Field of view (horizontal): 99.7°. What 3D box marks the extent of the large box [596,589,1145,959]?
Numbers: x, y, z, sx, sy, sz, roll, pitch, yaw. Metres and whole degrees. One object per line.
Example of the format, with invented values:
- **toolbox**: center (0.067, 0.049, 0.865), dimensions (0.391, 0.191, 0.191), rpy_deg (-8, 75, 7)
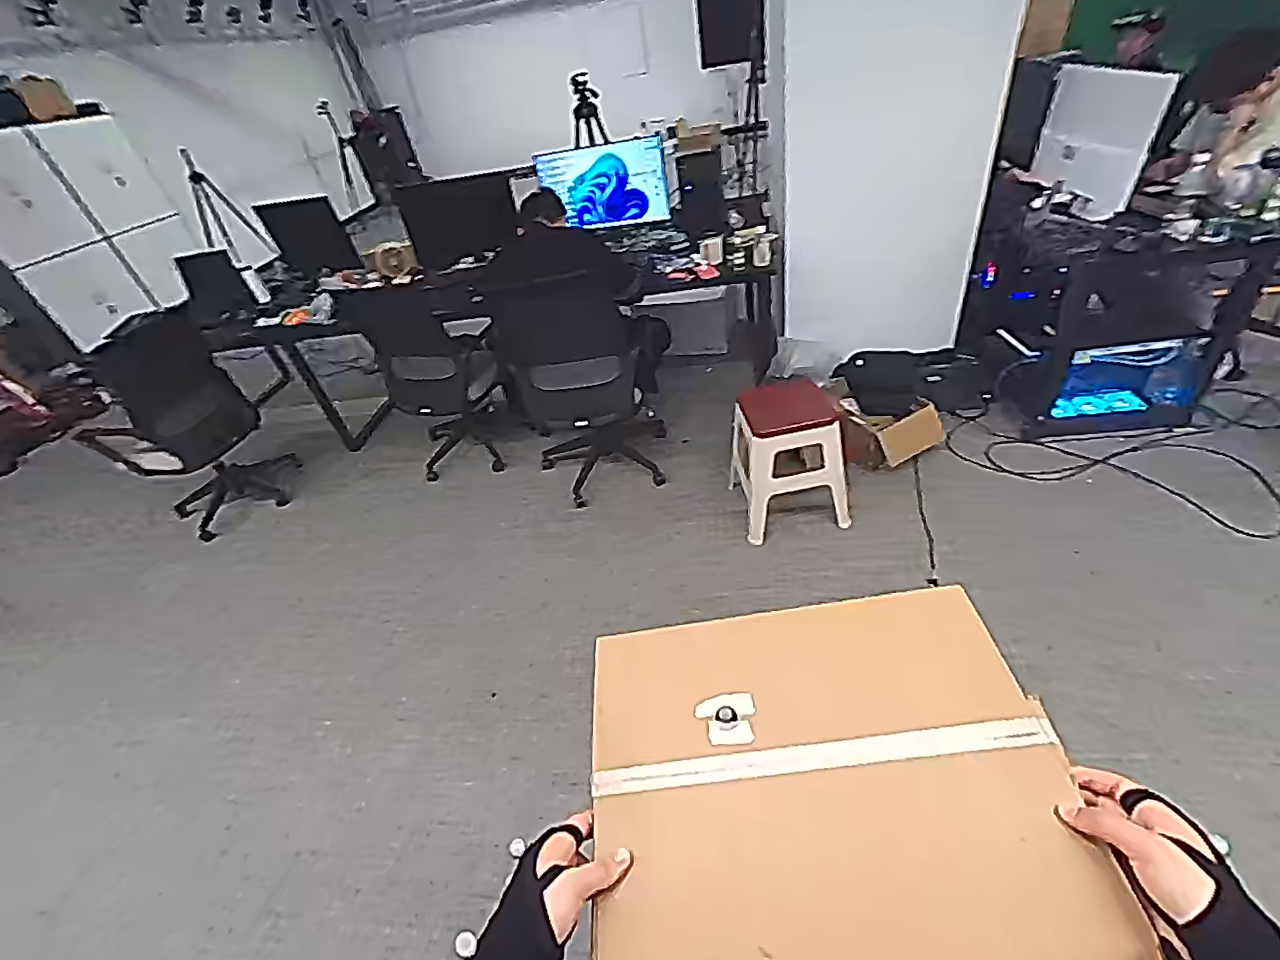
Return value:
- **large box**: center (0.187, 0.367, 0.602), dimensions (0.408, 0.320, 0.320), rpy_deg (-12, 42, 7)
